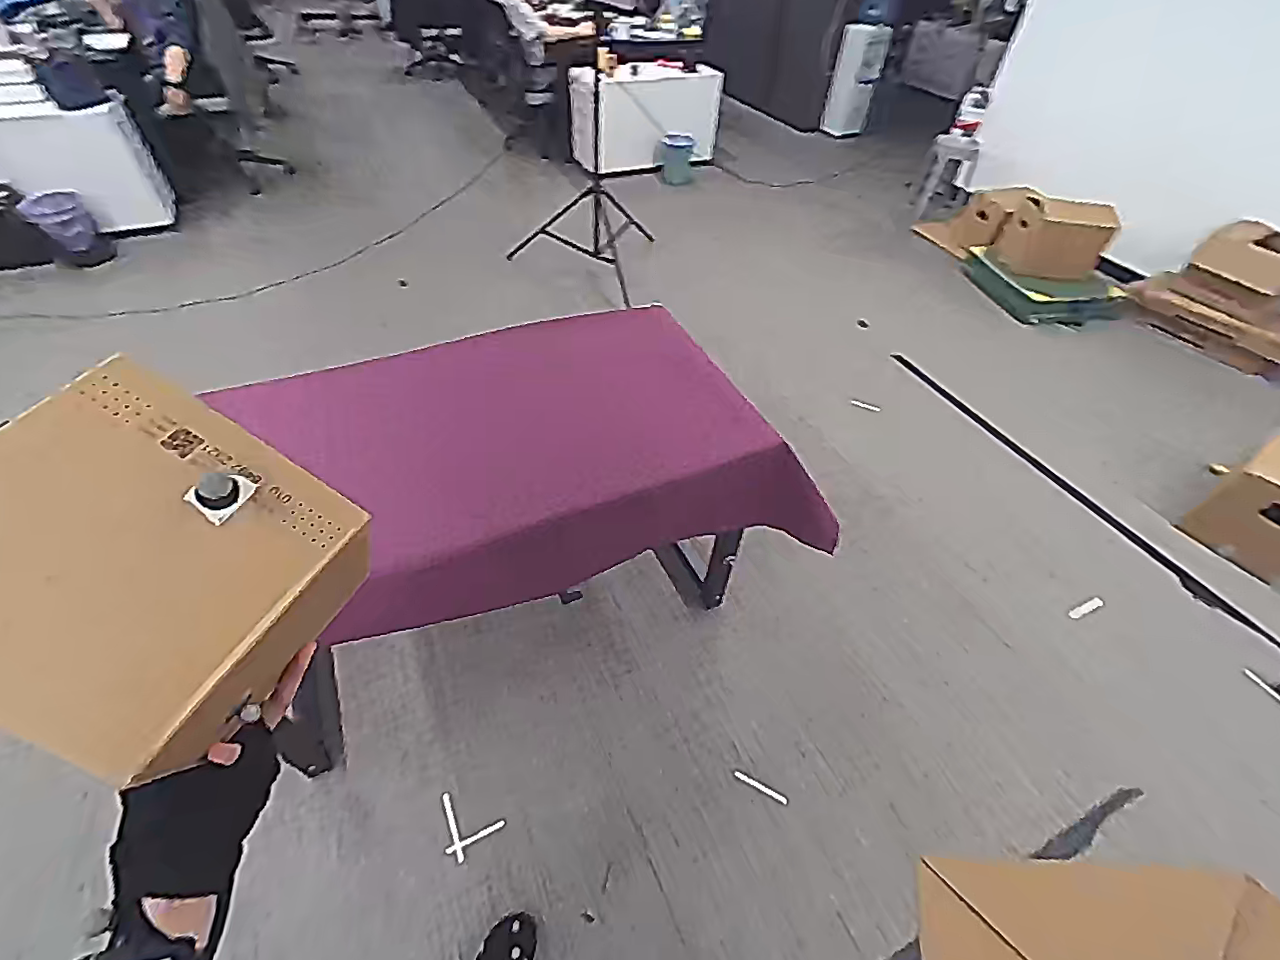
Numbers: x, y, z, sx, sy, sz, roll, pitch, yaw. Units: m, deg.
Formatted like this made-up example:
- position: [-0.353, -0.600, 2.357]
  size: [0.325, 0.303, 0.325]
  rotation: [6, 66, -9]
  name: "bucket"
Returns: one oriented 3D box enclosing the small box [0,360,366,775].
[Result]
- position: [-0.304, 0.061, 0.351]
  size: [0.168, 0.179, 0.176]
  rotation: [34, 56, -9]
  name: "small box"
